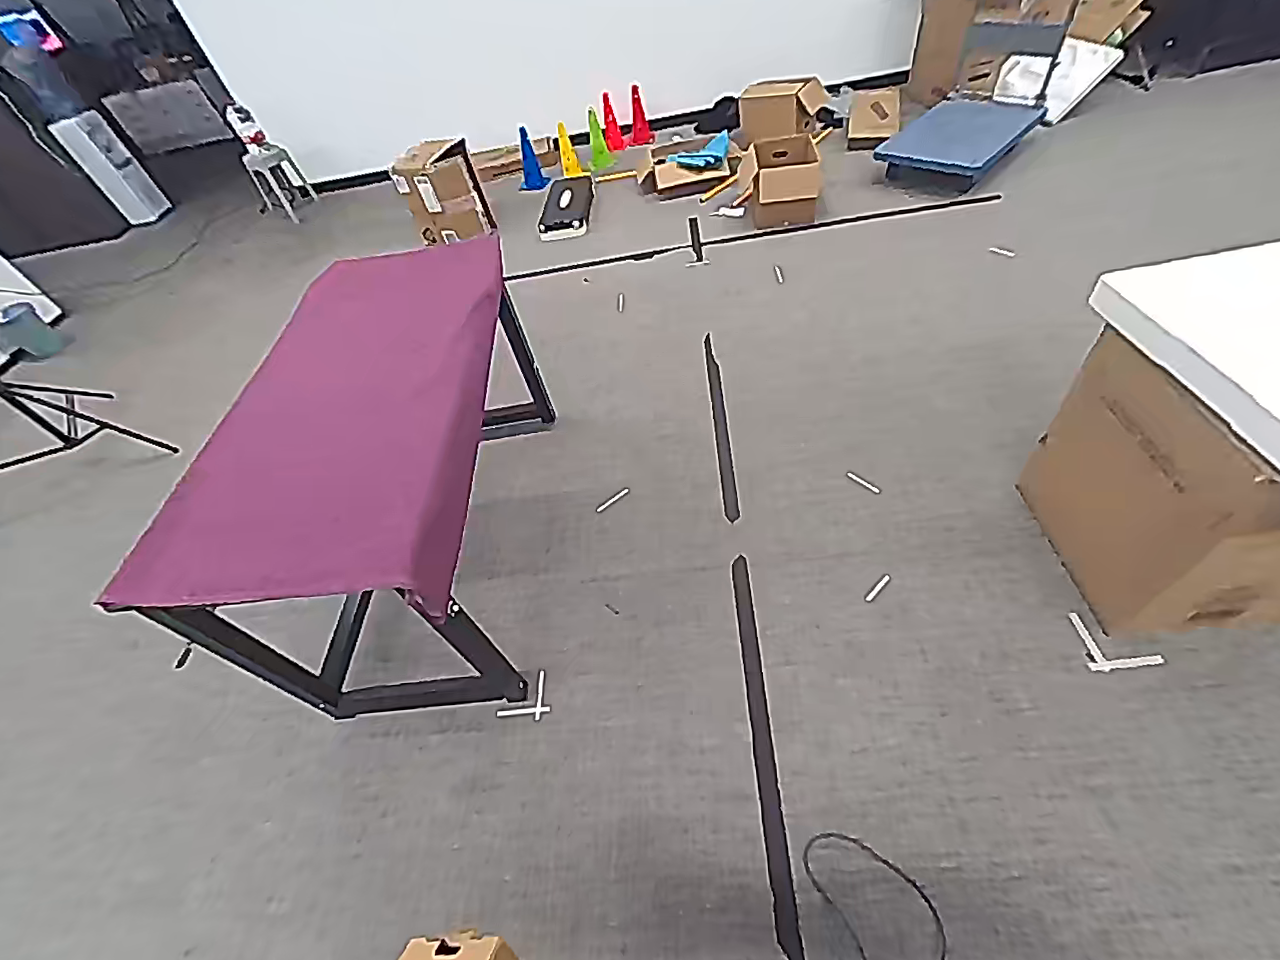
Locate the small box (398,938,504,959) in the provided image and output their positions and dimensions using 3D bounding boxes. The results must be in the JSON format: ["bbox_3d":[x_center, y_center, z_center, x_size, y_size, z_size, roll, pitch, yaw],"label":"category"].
[{"bbox_3d":[-0.220,0.676,0.616,0.168,0.176,0.179,-23,12,24],"label":"small box"}]
